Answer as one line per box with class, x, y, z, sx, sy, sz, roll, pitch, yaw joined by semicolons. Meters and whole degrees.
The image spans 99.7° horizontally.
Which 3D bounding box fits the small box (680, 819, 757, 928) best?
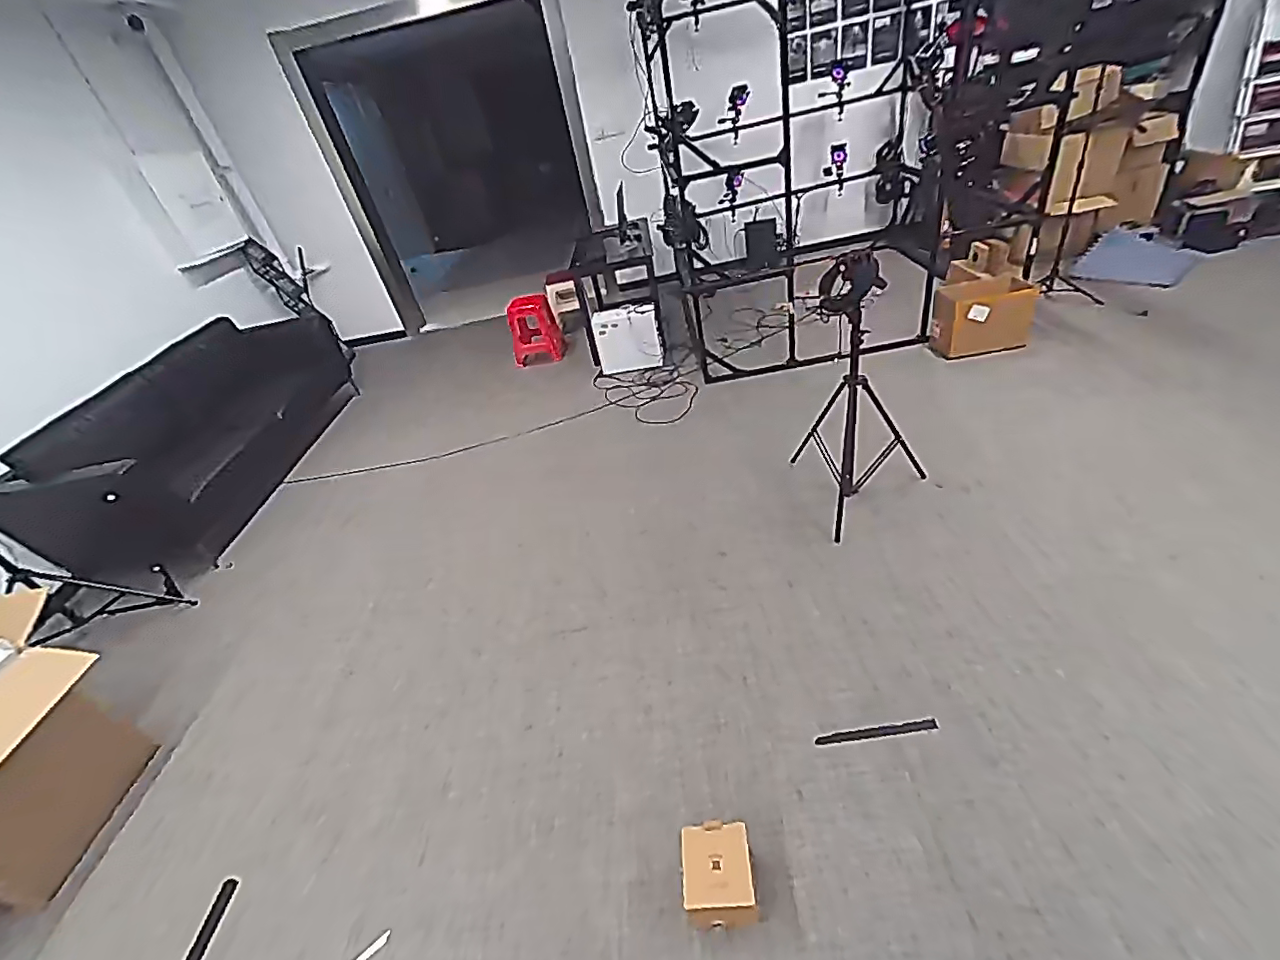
small box;0.193;0.979;1.346;0.168;0.176;0.179;-9;35;8
